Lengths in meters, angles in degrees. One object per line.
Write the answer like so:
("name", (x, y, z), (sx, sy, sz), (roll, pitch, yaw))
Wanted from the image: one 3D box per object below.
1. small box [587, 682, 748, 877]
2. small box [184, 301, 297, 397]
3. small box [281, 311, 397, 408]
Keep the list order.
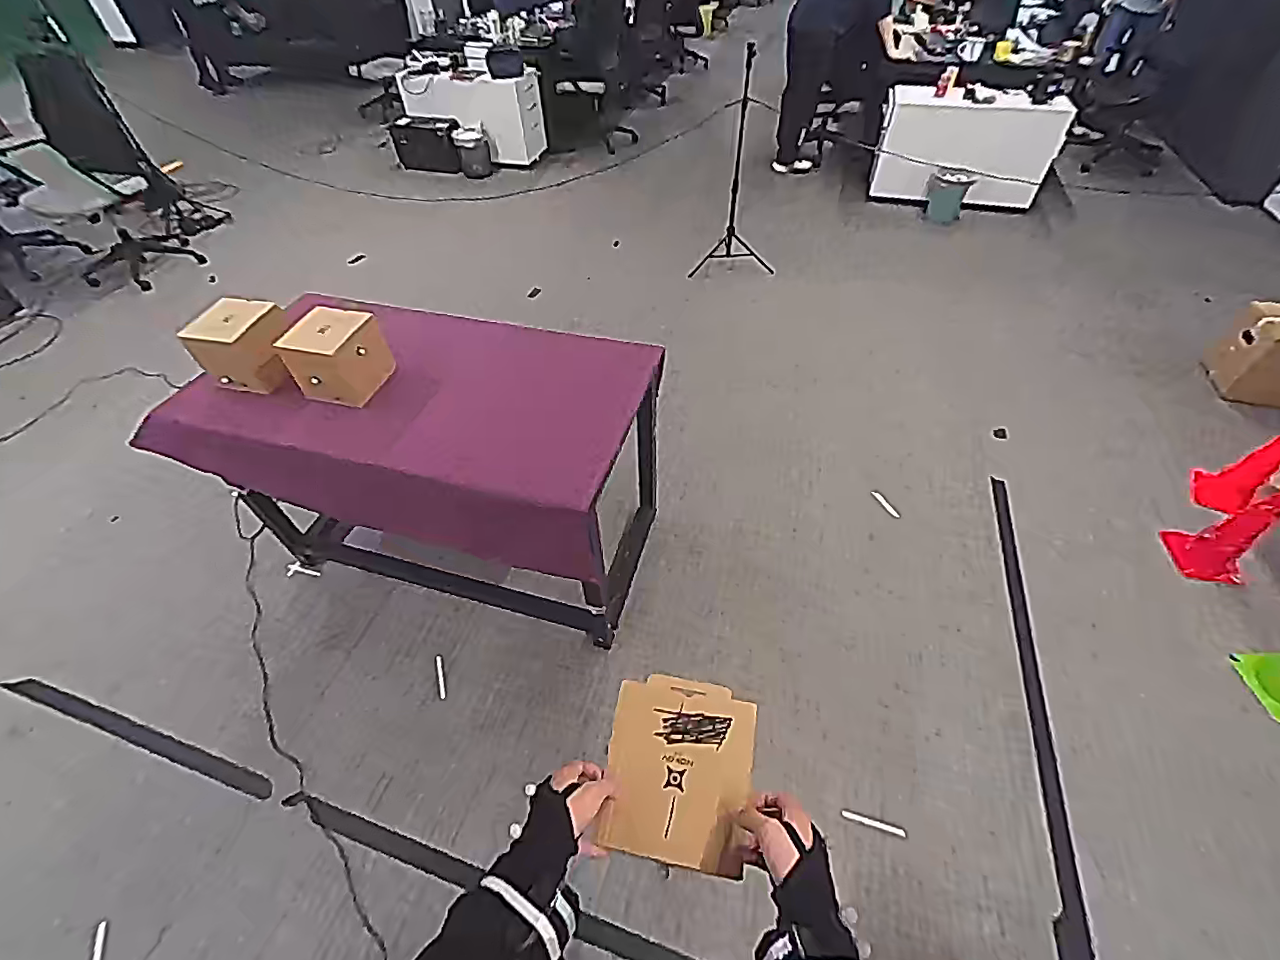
("small box", (0.043, 0.382, 0.689), (0.168, 0.176, 0.179), (5, 54, 11))
("small box", (-1.027, -0.347, 1.432), (0.168, 0.176, 0.179), (9, 49, 10))
("small box", (-0.759, -0.307, 1.389), (0.168, 0.176, 0.179), (11, 50, 11))
